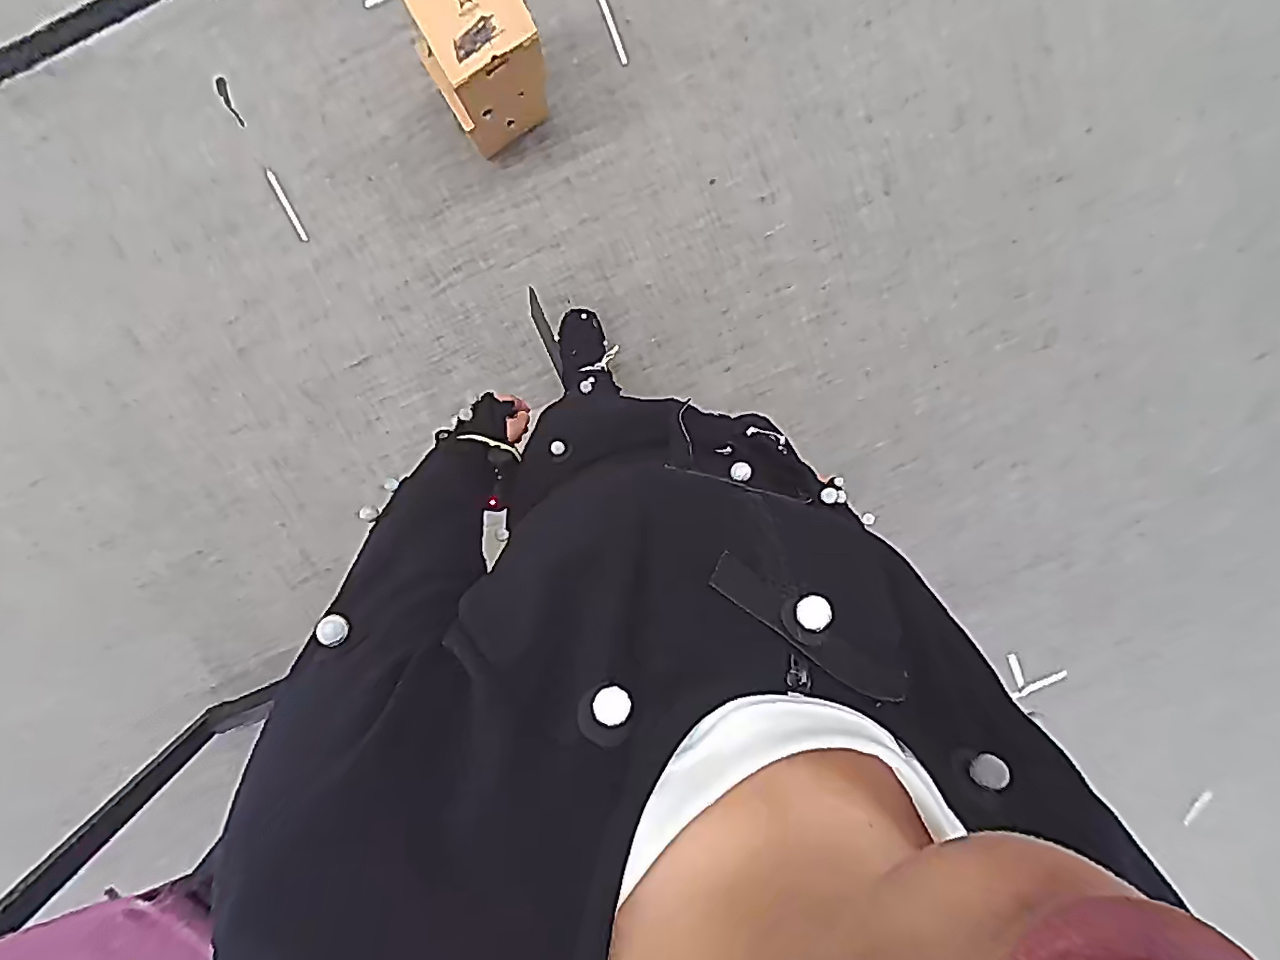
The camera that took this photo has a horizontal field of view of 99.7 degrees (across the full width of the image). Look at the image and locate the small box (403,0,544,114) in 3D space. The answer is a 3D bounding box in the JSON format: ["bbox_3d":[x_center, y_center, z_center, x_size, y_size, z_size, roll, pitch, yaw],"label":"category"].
[{"bbox_3d":[-0.280,-0.766,0.922,0.168,0.176,0.179,-29,104,3],"label":"small box"}]
